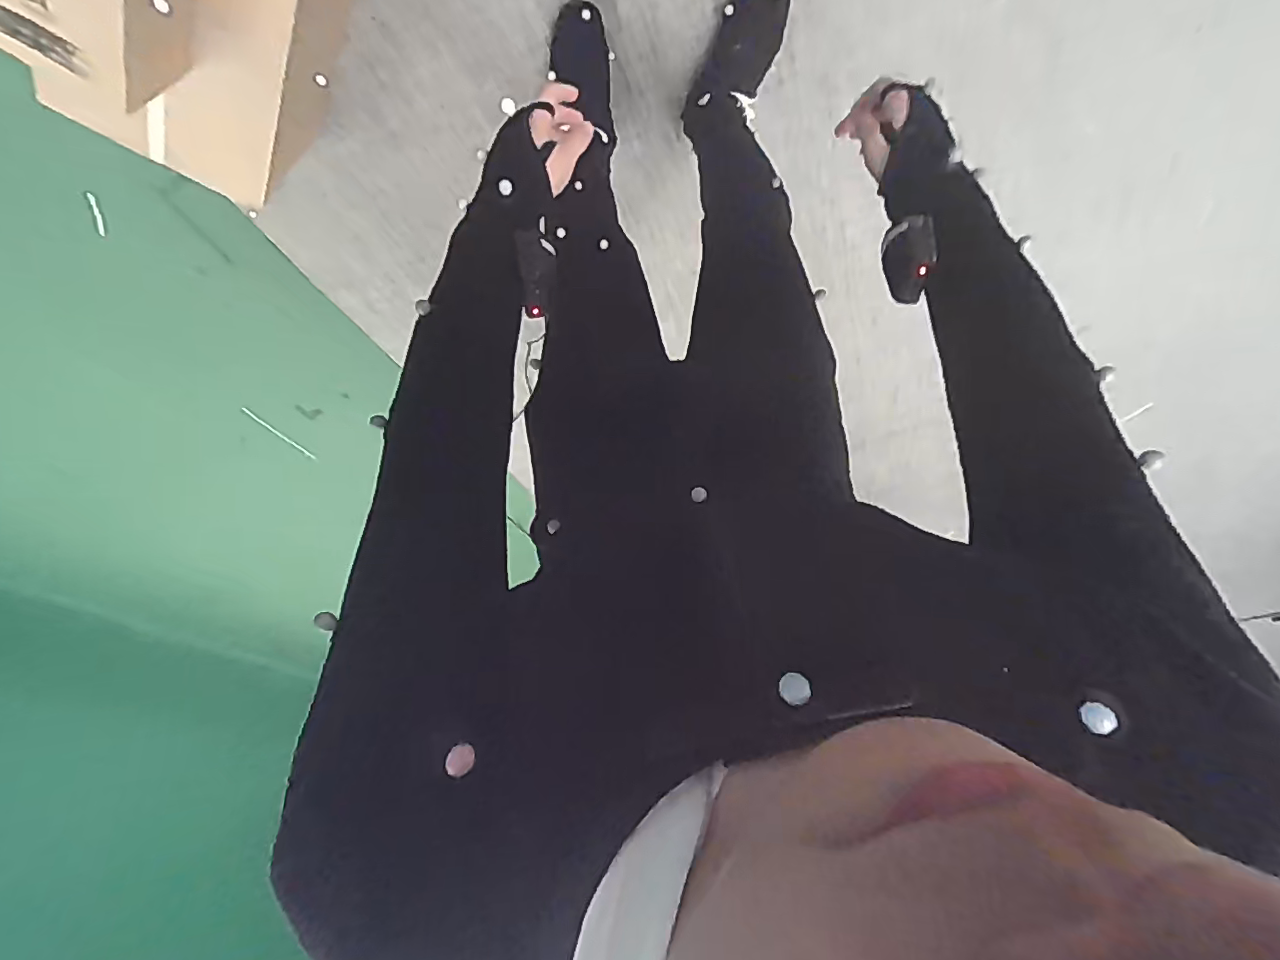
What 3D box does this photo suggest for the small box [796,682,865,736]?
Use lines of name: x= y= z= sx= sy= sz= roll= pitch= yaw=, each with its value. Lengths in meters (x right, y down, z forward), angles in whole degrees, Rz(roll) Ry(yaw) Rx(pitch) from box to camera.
small box: x=0.713 y=0.873 z=2.050 sx=0.179 sy=0.176 sz=0.168 roll=12 pitch=144 yaw=-15

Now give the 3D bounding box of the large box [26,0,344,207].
large box: x=-0.697 y=-0.764 z=0.870 sx=0.320 sy=0.320 sz=0.408 roll=24 pitch=140 yaw=-29
